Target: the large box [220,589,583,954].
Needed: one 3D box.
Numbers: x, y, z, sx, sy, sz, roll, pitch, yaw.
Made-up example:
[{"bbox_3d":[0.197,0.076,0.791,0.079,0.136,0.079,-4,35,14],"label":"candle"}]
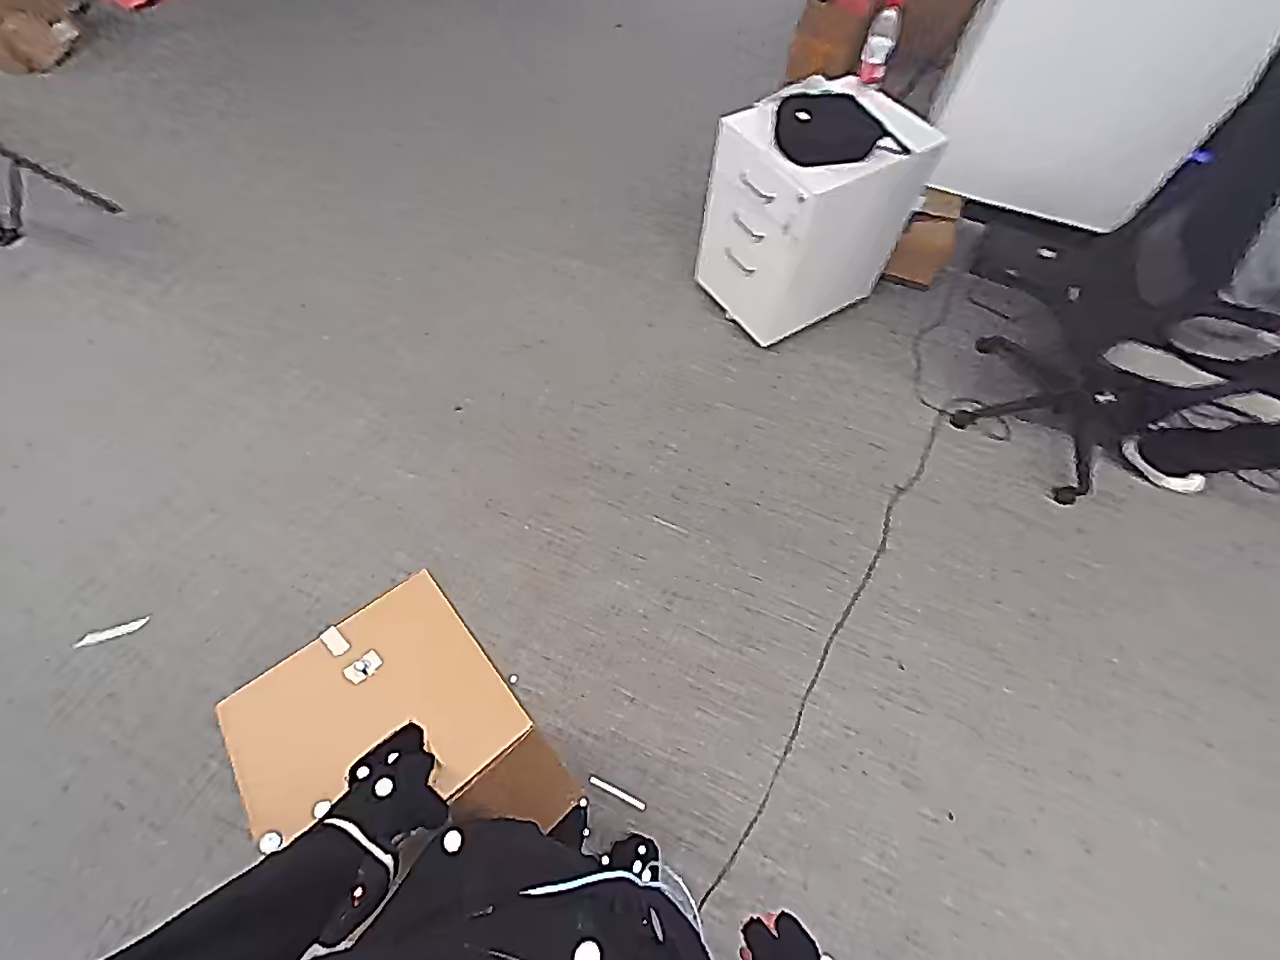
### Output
[{"bbox_3d":[-0.330,0.444,0.839,0.320,0.408,0.320,-35,56,-22],"label":"large box"}]
